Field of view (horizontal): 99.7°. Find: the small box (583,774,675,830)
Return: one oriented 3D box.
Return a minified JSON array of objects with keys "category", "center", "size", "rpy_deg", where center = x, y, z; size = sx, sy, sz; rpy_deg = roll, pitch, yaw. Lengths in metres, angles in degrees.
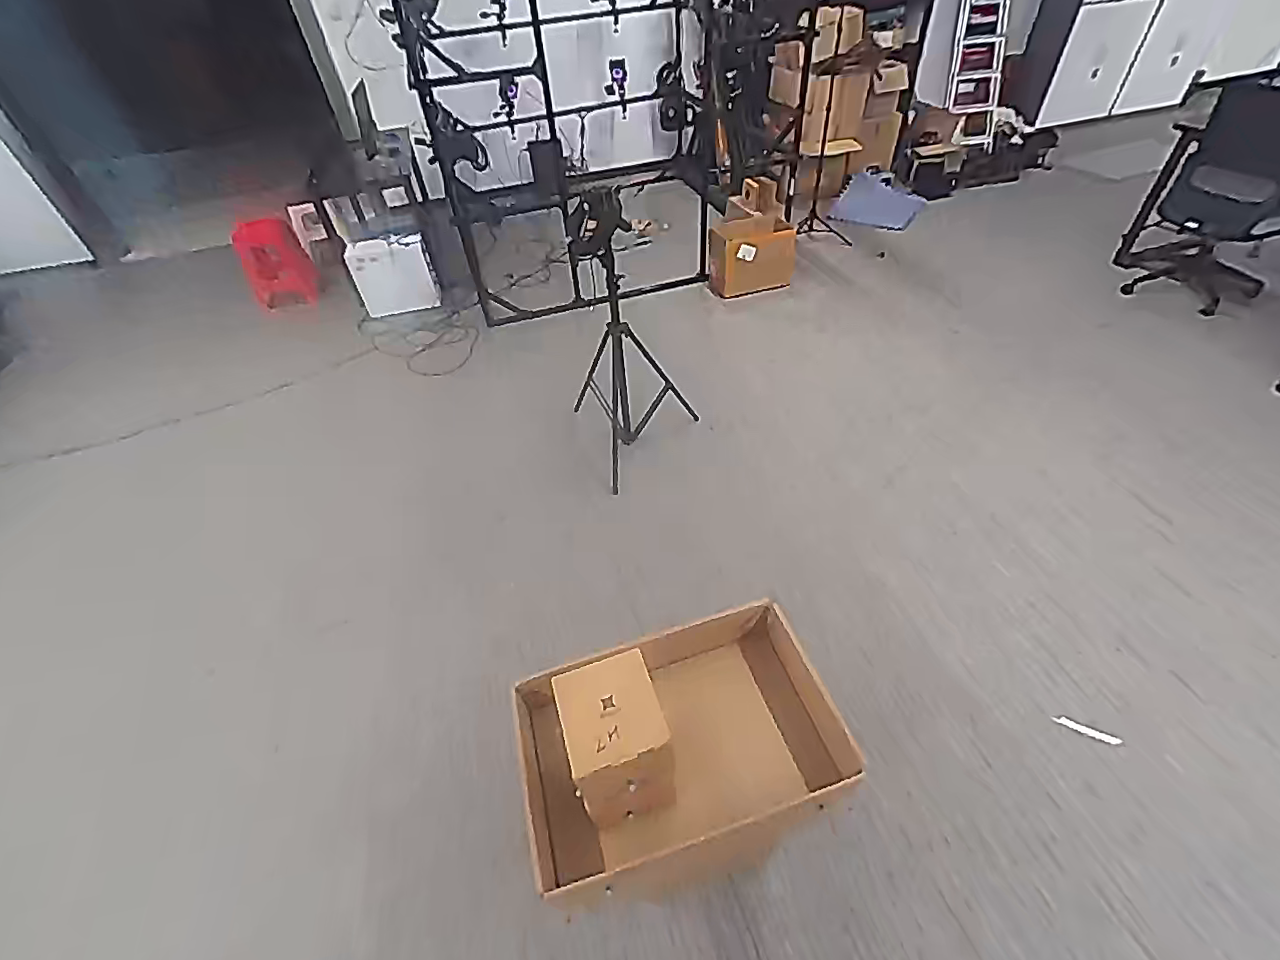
[{"category":"small box","center":[-0.036,0.560,1.077],"size":[0.168,0.176,0.179],"rpy_deg":[-16,46,-9]}]

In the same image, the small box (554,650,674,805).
[{"category":"small box","center":[-0.045,0.441,0.962],"size":[0.168,0.176,0.179],"rpy_deg":[-17,47,-9]}]
